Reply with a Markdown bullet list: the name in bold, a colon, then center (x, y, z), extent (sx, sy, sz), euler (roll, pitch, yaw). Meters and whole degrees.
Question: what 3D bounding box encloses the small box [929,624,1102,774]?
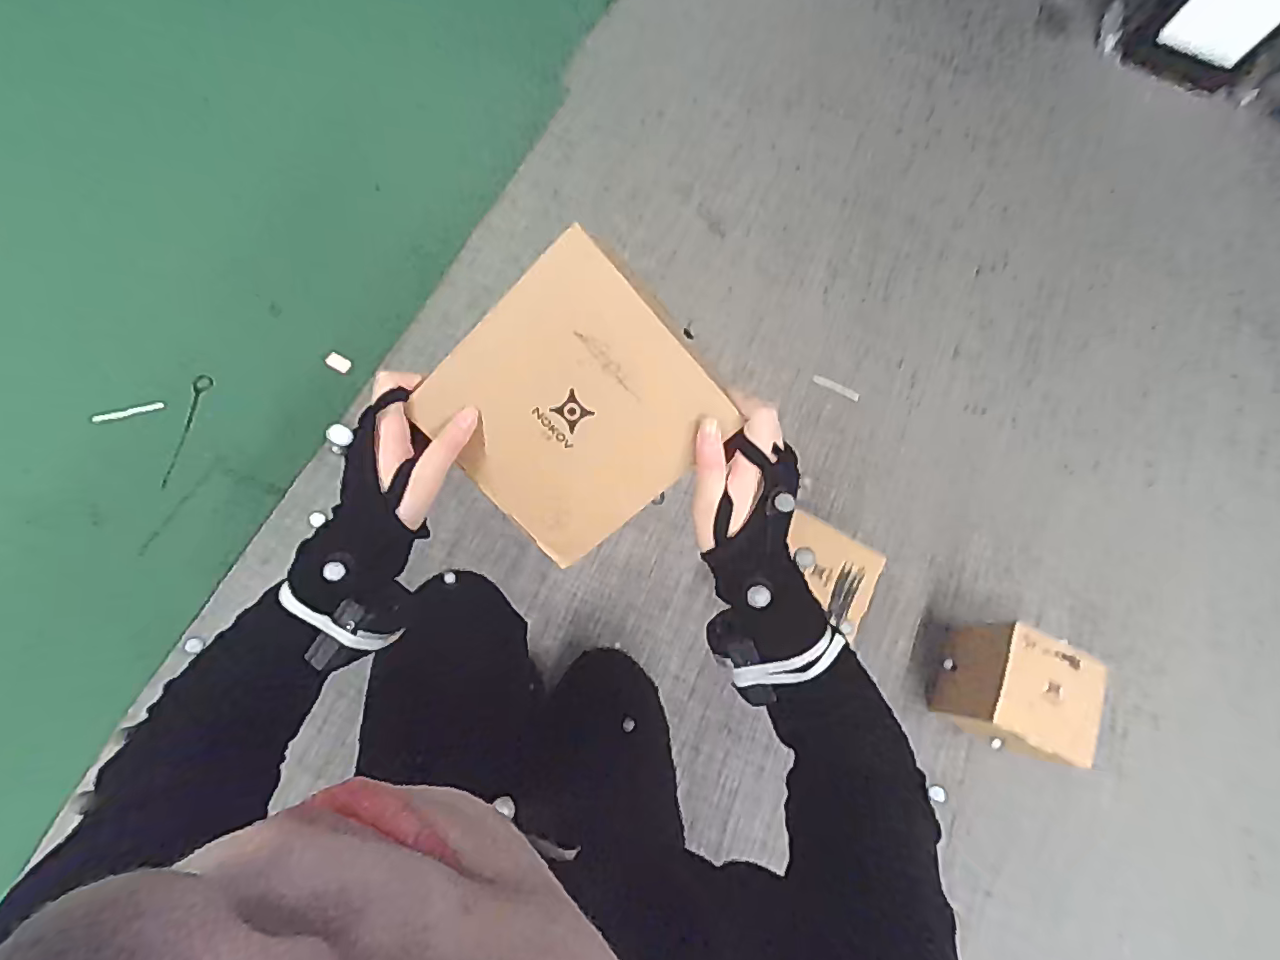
- **small box**: center (0.643, 0.372, 0.945), extent (0.168, 0.176, 0.179), euler (27, 72, 3)
